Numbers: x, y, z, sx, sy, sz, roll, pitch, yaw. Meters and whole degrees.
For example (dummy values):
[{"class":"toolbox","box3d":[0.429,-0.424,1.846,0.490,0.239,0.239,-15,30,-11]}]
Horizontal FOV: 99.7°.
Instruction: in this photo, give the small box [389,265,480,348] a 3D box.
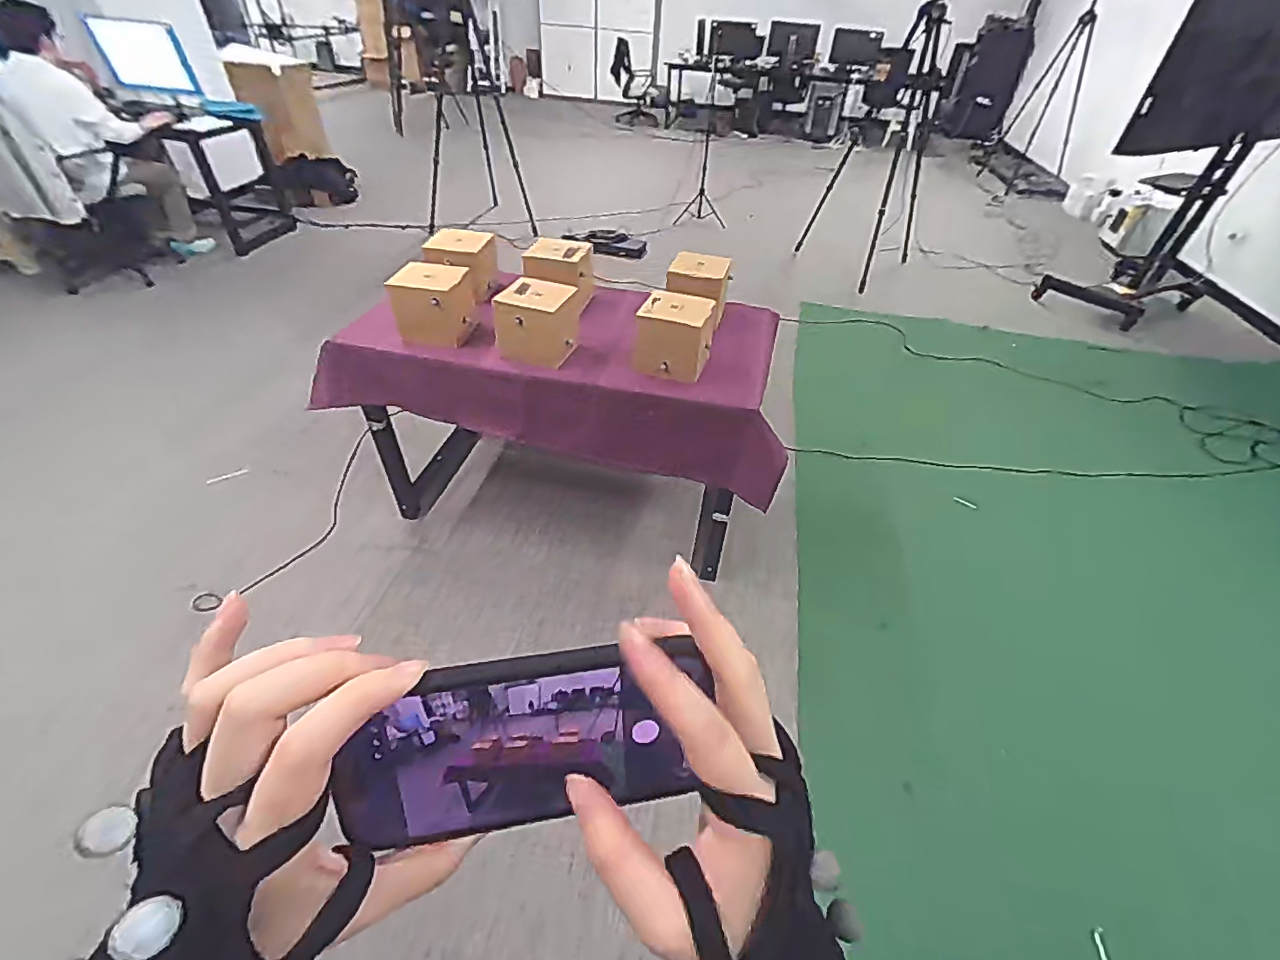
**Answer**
[{"class":"small box","box3d":[-0.571,-0.489,1.528,0.179,0.176,0.168,8,42,2]}]

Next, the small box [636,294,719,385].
[{"class":"small box","box3d":[0.098,-0.375,1.453,0.179,0.176,0.168,16,43,12]}]

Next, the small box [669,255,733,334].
[{"class":"small box","box3d":[0.183,-0.575,1.679,0.168,0.176,0.179,13,44,10]}]

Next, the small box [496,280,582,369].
[{"class":"small box","box3d":[-0.269,-0.422,1.476,0.179,0.176,0.168,16,43,11]}]
